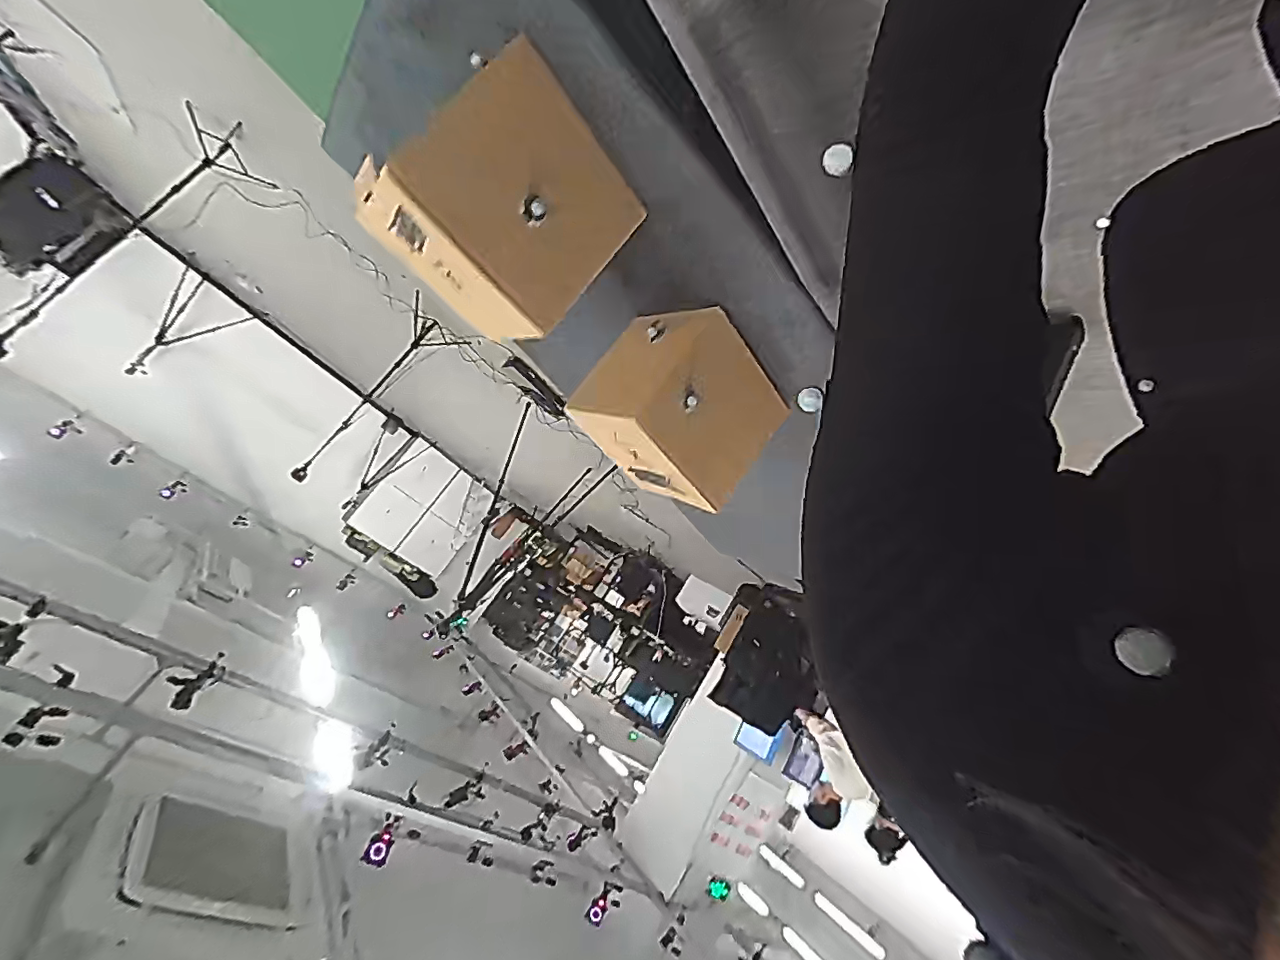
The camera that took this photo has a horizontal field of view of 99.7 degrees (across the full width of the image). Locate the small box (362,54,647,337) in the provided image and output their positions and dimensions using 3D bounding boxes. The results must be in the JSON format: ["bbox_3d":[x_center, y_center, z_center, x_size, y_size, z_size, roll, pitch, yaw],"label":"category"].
[{"bbox_3d":[-0.129,-0.264,0.527,0.179,0.176,0.168,43,166,-34],"label":"small box"}]
